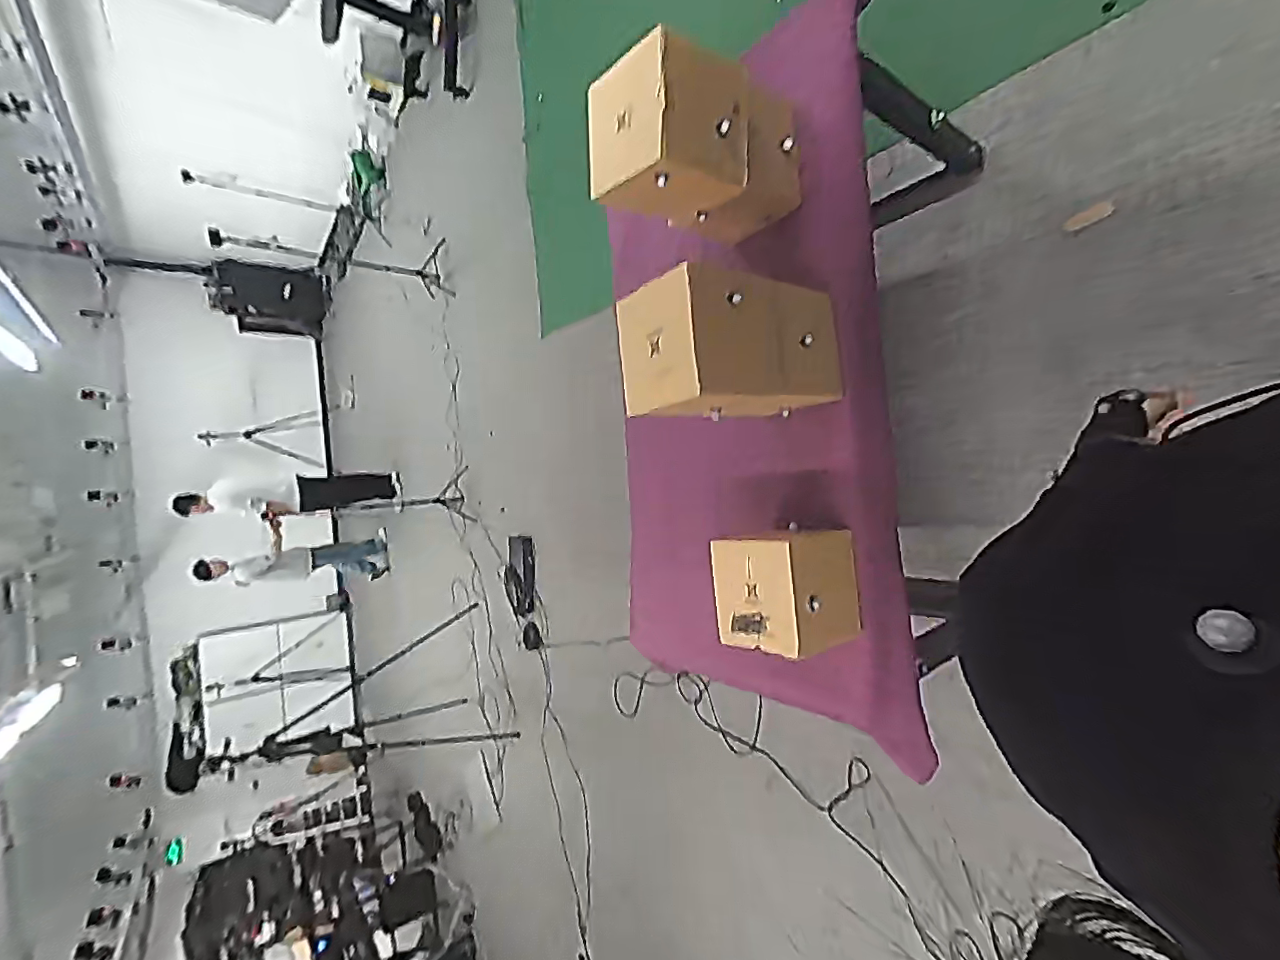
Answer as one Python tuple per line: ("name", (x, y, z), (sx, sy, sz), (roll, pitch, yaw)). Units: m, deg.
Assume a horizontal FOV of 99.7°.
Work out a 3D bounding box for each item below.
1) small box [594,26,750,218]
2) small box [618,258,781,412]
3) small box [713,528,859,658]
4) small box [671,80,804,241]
("small box", (0.045, -0.522, 0.825), (0.179, 0.176, 0.168), (6, 99, 52))
("small box", (0.088, -0.198, 0.798), (0.168, 0.176, 0.179), (-6, 90, 54))
("small box", (0.243, 0.175, 0.897), (0.168, 0.176, 0.179), (-8, 86, 53))
("small box", (0.163, -0.545, 0.939), (0.168, 0.176, 0.179), (-7, 89, 54))
